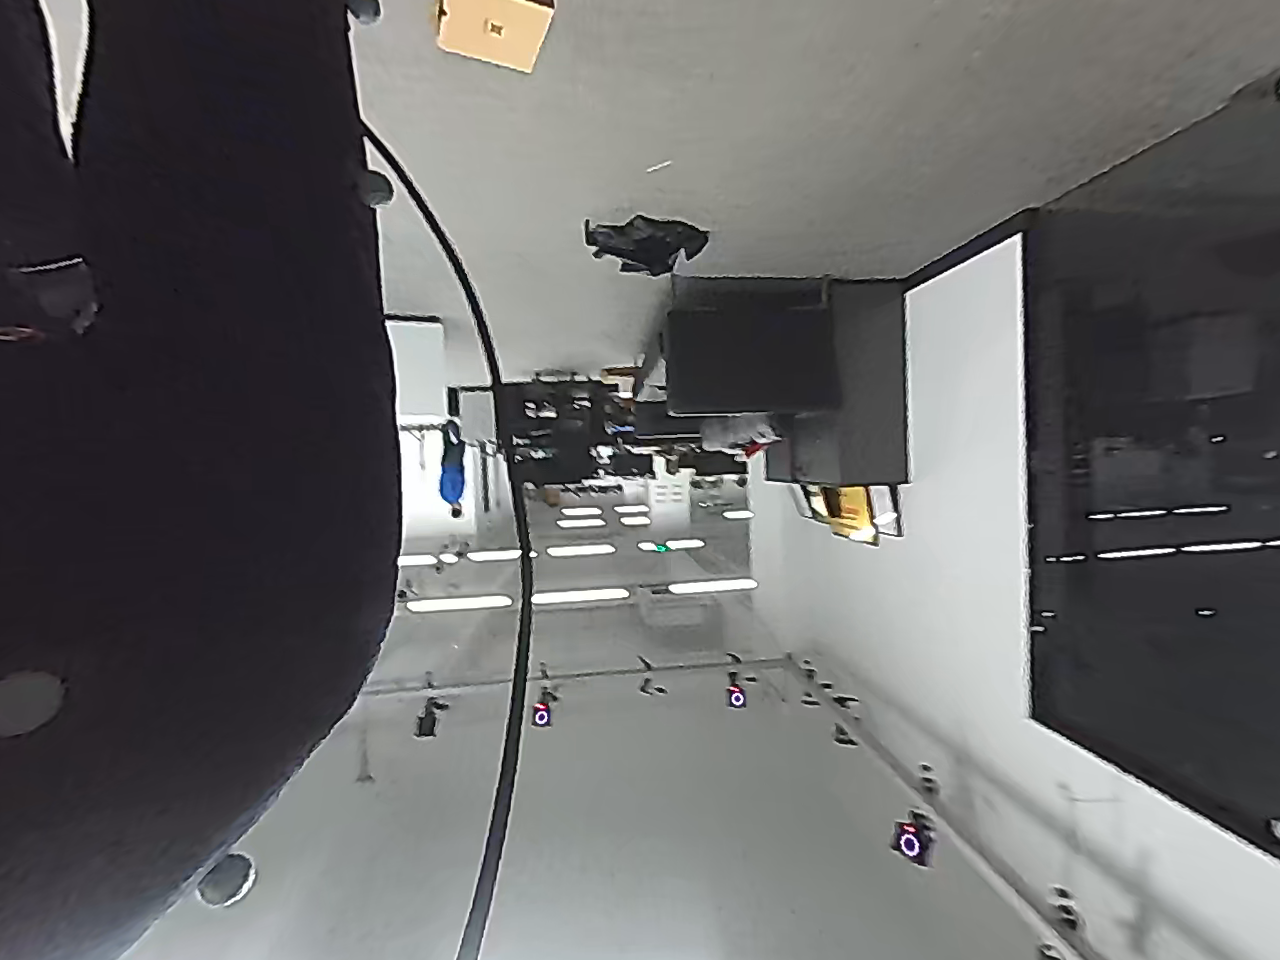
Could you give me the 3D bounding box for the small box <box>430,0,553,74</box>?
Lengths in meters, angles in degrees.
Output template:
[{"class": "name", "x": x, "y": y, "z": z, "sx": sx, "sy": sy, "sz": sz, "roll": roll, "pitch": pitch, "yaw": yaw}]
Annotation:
[{"class": "small box", "x": -0.259, "y": -0.852, "z": 0.924, "sx": 0.179, "sy": 0.176, "sz": 0.168, "roll": -3, "pitch": -177, "yaw": -26}]
